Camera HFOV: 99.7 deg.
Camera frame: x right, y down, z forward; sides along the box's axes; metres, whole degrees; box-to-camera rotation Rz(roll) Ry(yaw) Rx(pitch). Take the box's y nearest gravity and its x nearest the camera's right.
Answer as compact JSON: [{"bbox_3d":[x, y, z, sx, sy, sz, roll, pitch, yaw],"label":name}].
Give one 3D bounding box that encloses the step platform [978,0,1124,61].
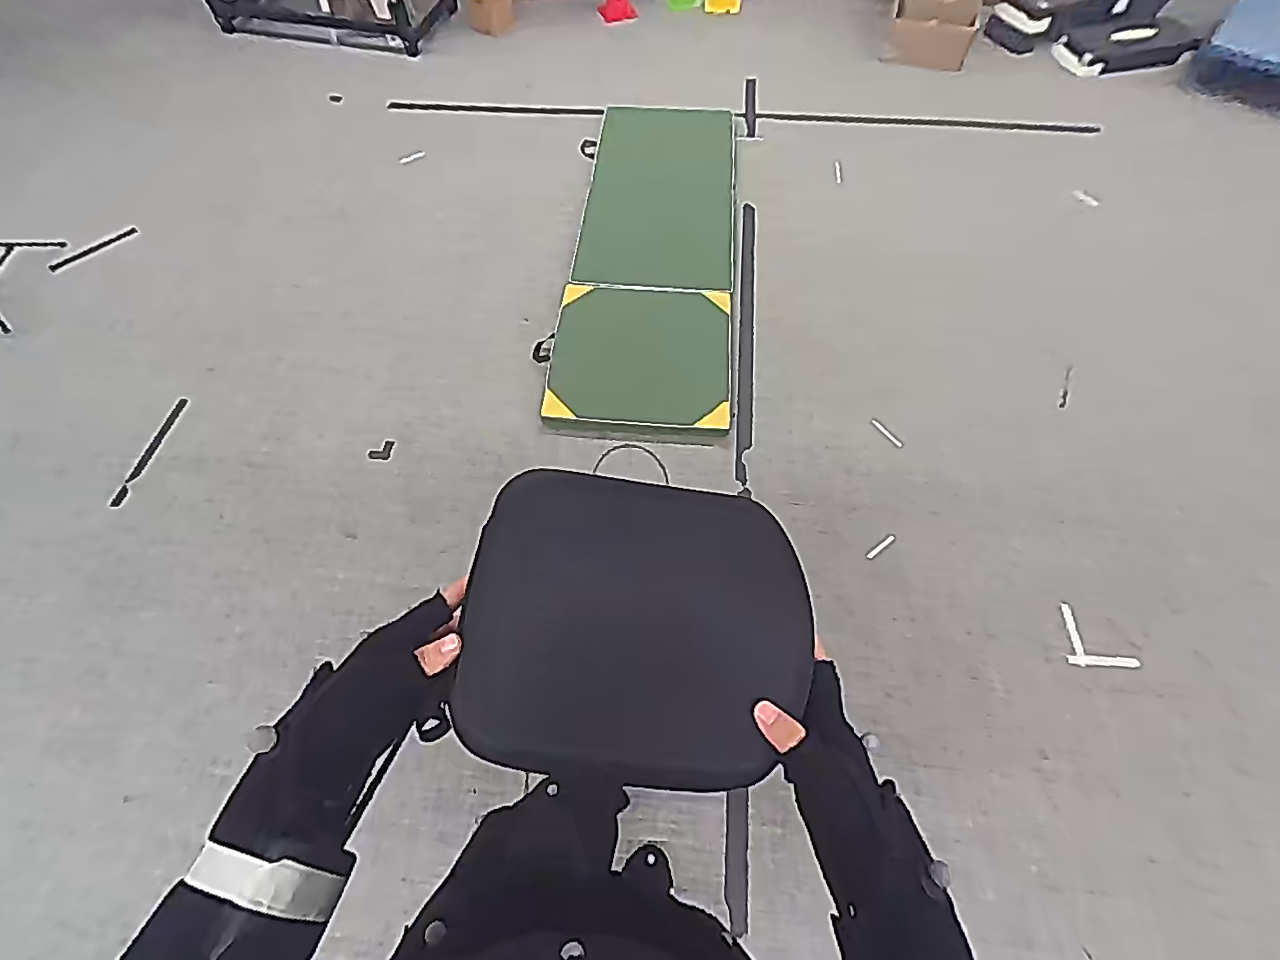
[{"bbox_3d":[2.179,-2.450,2.859,0.684,0.204,0.286,-22,64,-10],"label":"step platform"}]
